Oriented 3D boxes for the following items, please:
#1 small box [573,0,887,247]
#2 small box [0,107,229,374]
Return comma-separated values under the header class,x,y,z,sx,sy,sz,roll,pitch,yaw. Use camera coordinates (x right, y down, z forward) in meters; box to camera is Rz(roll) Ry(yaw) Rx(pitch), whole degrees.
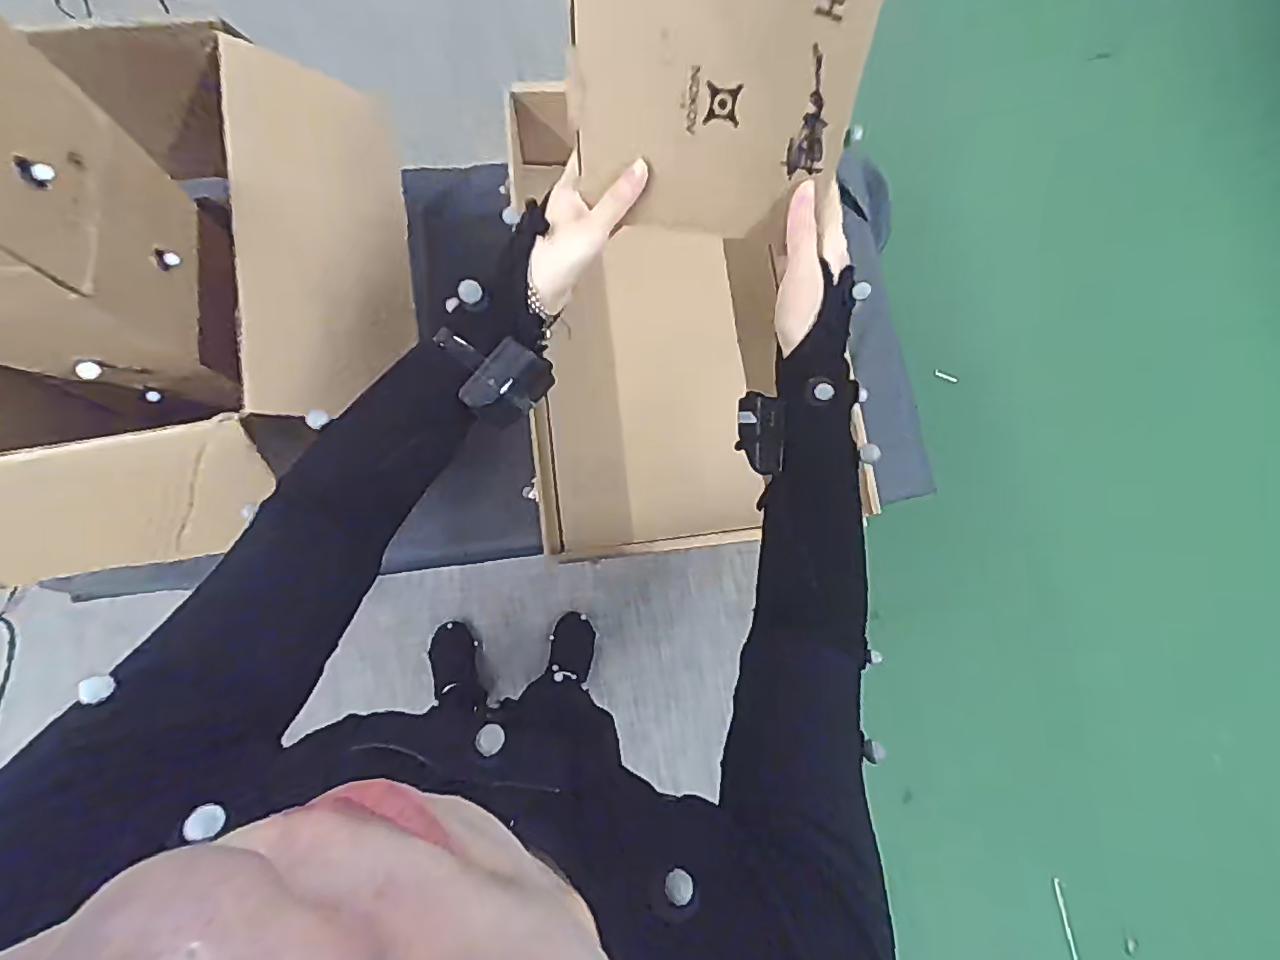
class,x,y,z,sx,sy,sz,roll,pitch,yaw
small box,0.060,-0.295,0.387,0.179,0.168,0.176,10,50,5
small box,-0.527,-0.214,0.512,0.168,0.176,0.179,-4,82,-8
